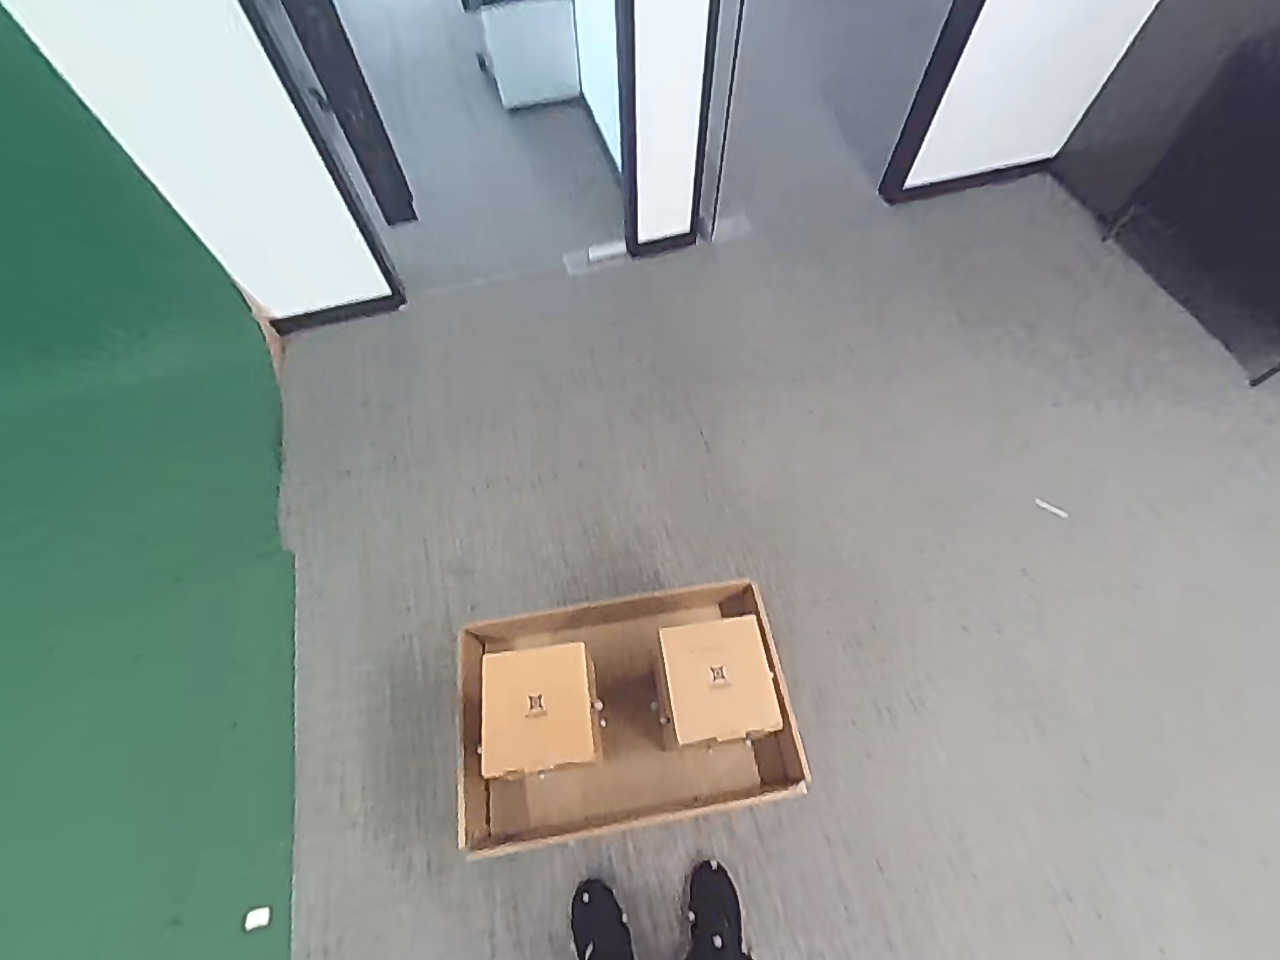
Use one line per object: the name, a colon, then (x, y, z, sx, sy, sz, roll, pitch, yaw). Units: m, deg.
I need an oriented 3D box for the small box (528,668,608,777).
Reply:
small box: (-0.159, 0.471, 1.044, 0.179, 0.176, 0.168, -5, 61, -3)

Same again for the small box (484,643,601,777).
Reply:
small box: (-0.157, 0.388, 0.904, 0.168, 0.176, 0.179, -7, 61, -3)

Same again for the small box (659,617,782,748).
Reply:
small box: (0.125, 0.349, 0.917, 0.168, 0.176, 0.179, -7, 60, -4)
